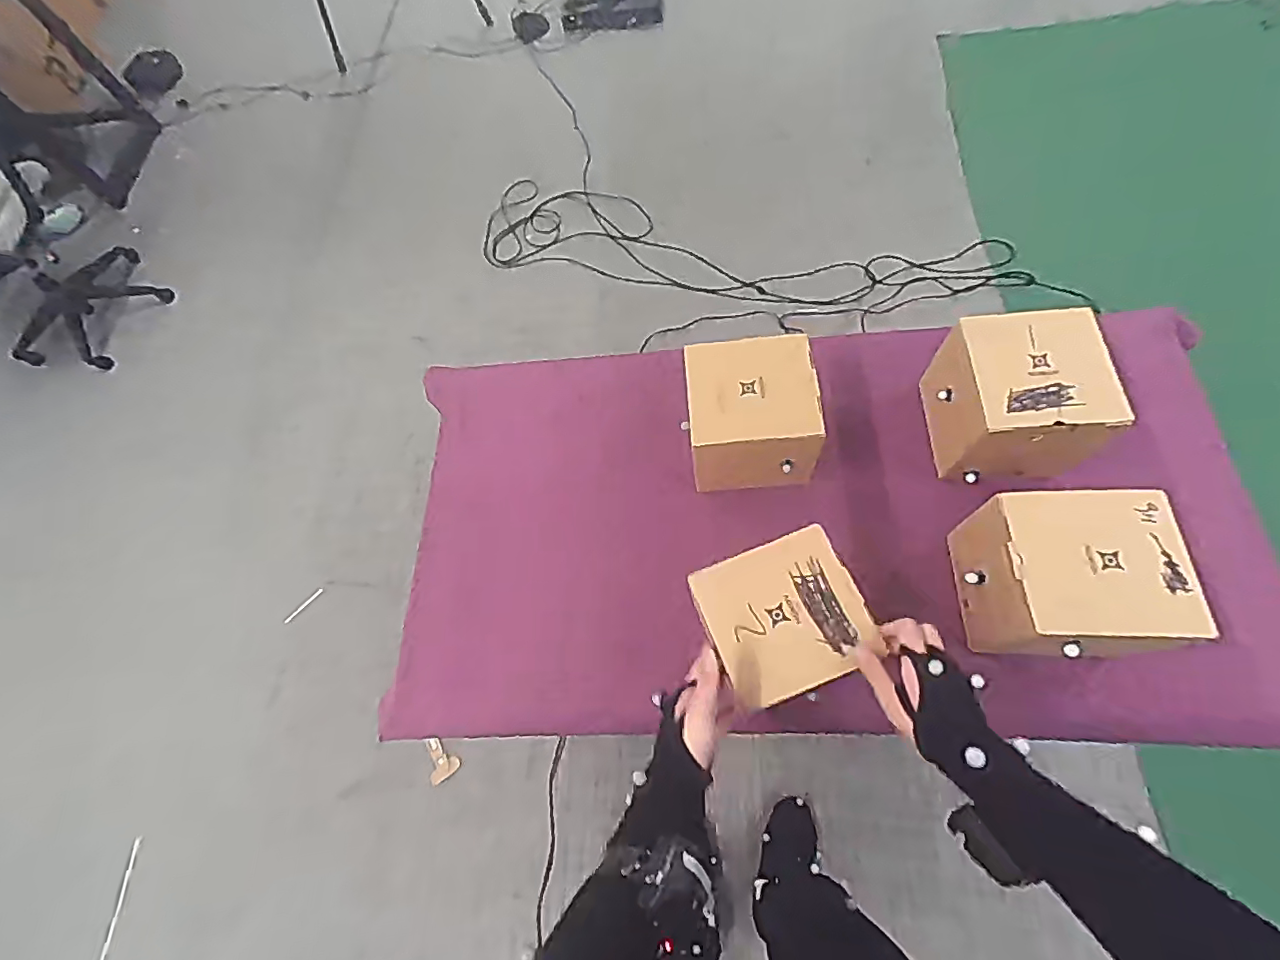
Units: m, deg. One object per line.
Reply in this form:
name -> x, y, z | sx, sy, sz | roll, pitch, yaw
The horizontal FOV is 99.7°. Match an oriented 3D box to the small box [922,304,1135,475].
small box -> 0.514, -0.113, 0.748 | 0.168, 0.176, 0.179 | -2, 65, 8

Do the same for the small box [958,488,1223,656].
small box -> 0.508, 0.117, 0.650 | 0.179, 0.176, 0.168 | -1, 66, 9

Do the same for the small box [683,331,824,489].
small box -> 0.159, -0.095, 0.800 | 0.179, 0.176, 0.168 | -4, 66, 8
